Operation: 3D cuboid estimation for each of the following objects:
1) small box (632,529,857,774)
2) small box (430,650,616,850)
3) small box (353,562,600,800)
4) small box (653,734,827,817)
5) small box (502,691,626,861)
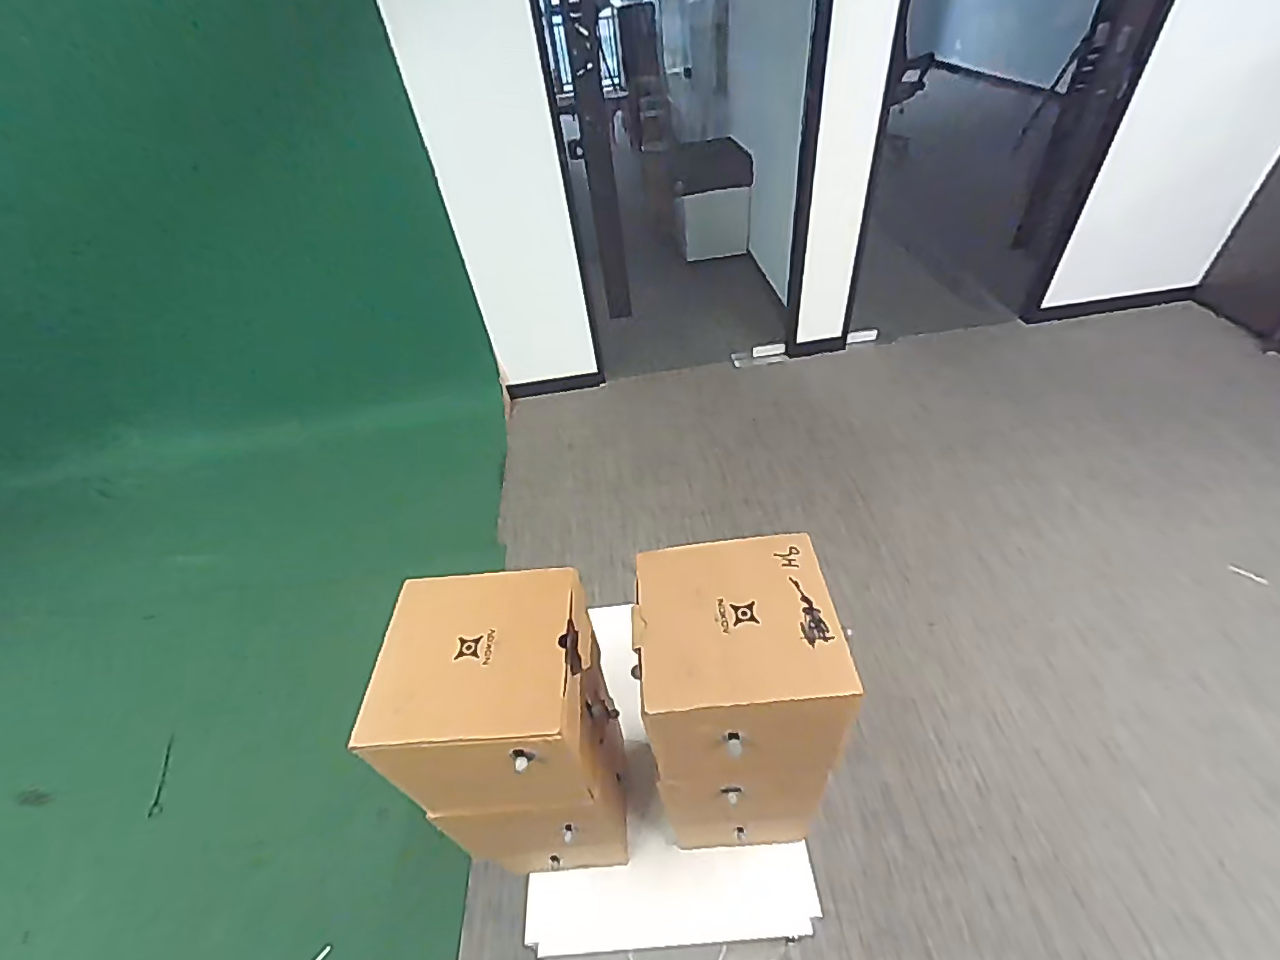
[{"bbox_3d":[0.094,0.173,0.534,0.179,0.176,0.168,-8,44,4],"label":"small box"},{"bbox_3d":[-0.123,0.324,0.650,0.179,0.176,0.168,-7,43,1],"label":"small box"},{"bbox_3d":[-0.140,0.203,0.541,0.179,0.176,0.168,-4,44,2],"label":"small box"},{"bbox_3d":[0.110,0.288,0.650,0.179,0.176,0.168,-6,44,4],"label":"small box"},{"bbox_3d":[-0.109,0.428,0.775,0.168,0.176,0.179,-5,44,0],"label":"small box"}]
